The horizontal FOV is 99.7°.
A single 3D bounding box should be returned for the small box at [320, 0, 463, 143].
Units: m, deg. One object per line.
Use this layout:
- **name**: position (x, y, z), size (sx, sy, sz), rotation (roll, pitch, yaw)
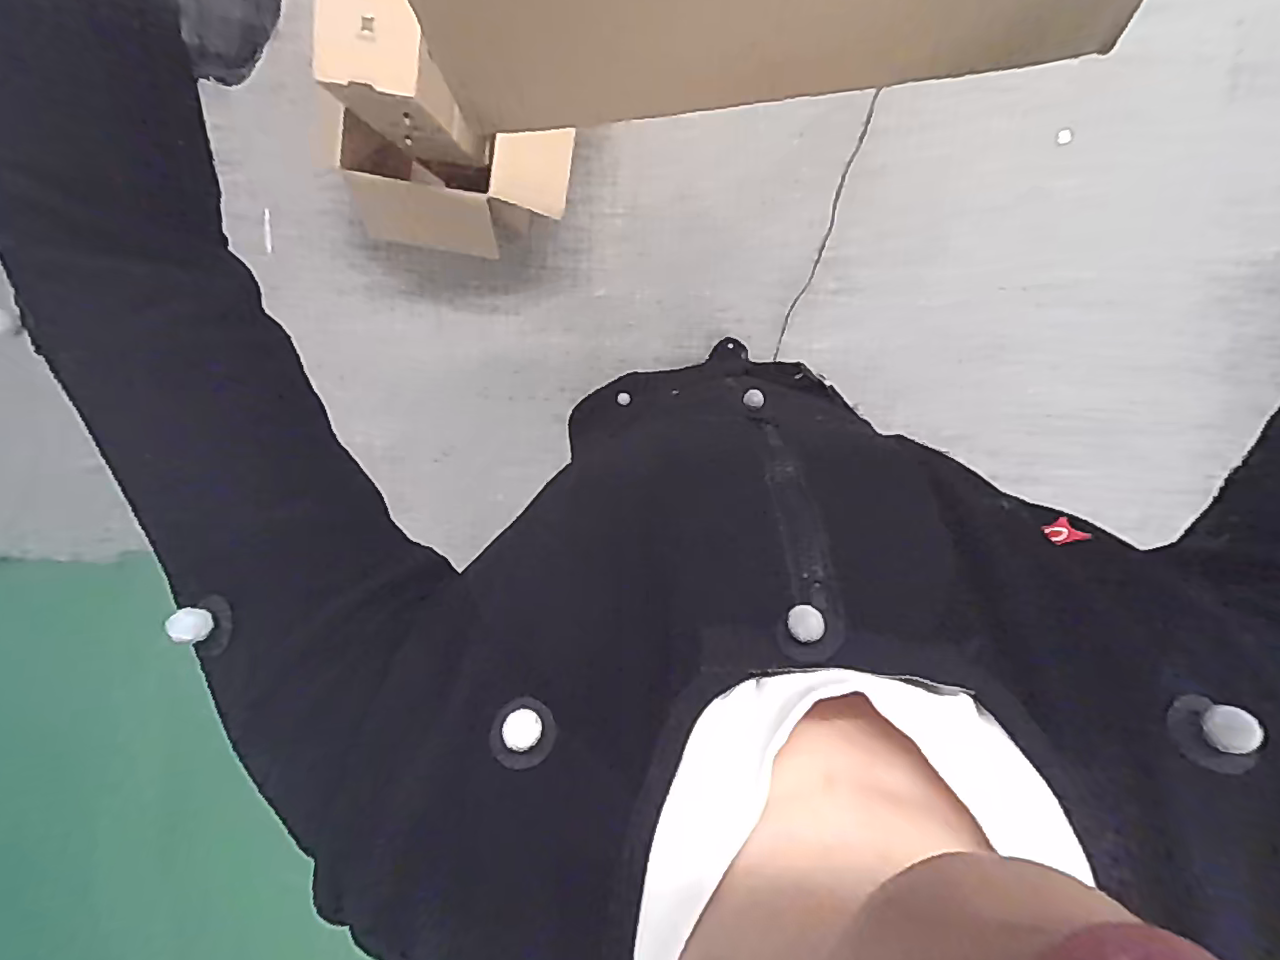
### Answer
- **small box**: position (-0.412, -0.704, 0.918), size (0.168, 0.176, 0.179), rotation (9, 102, 0)
